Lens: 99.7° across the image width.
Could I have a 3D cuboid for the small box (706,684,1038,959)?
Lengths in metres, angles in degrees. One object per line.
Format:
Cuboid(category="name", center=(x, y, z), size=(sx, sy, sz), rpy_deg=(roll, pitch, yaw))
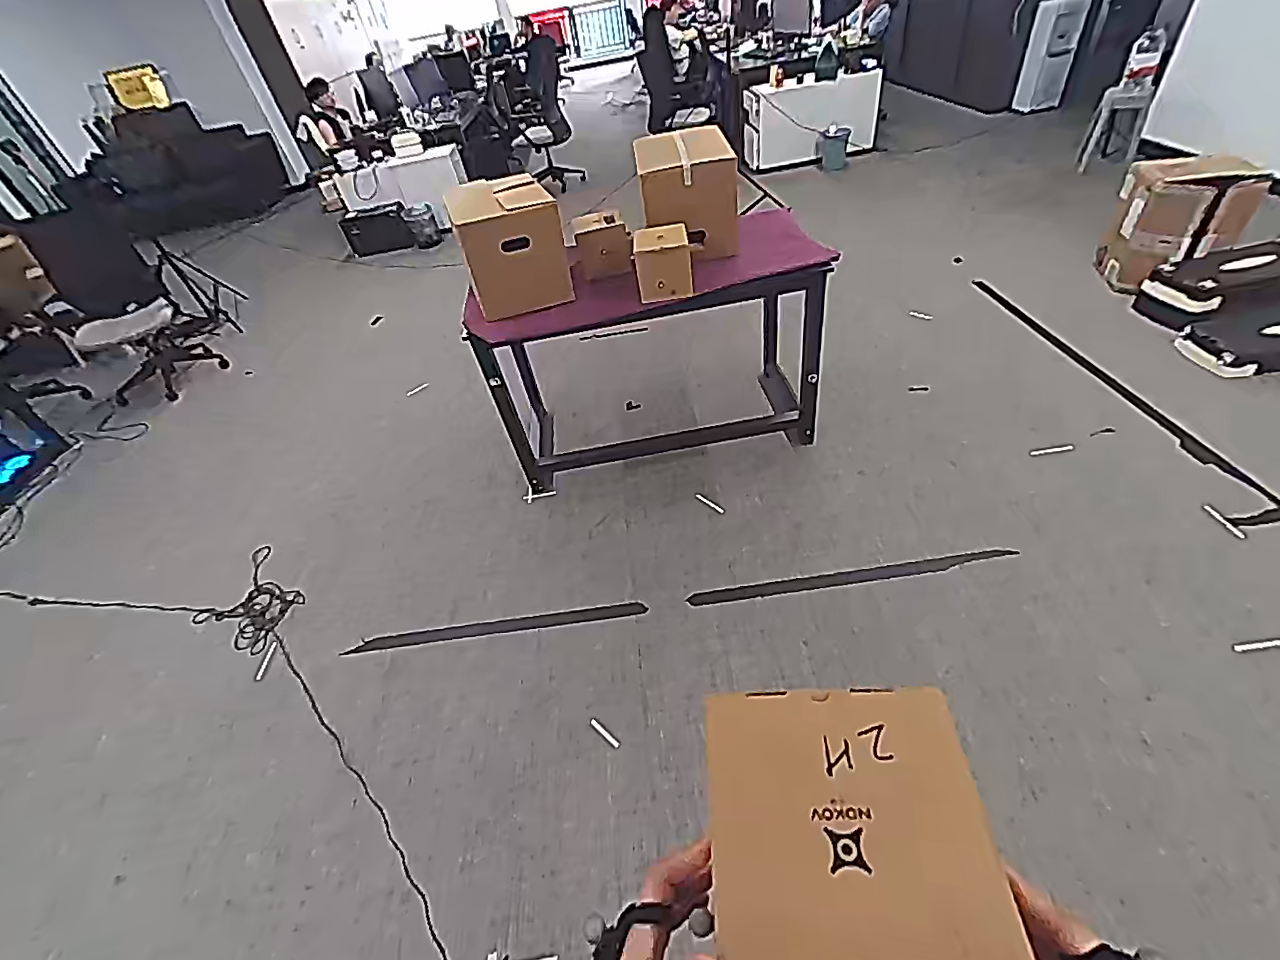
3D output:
Cuboid(category="small box", center=(0.137, 0.262, 0.379), size=(0.168, 0.176, 0.179), rpy_deg=(-4, 46, 8))
